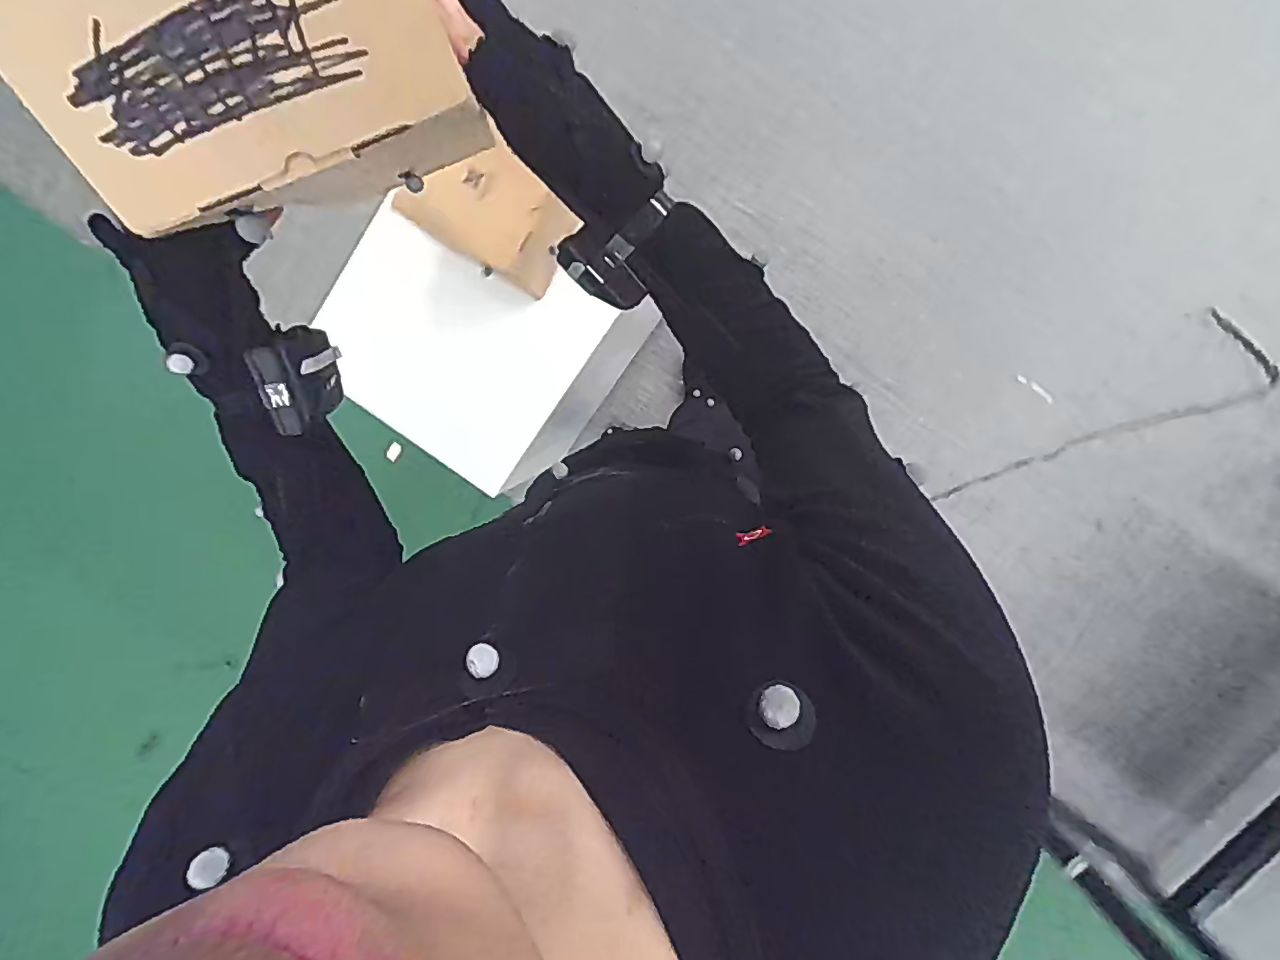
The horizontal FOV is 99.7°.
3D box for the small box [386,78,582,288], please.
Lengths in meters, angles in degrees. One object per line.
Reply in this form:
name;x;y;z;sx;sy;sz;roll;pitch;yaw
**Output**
small box;-0.200;-0.387;0.743;0.179;0.176;0.168;29;99;-1
